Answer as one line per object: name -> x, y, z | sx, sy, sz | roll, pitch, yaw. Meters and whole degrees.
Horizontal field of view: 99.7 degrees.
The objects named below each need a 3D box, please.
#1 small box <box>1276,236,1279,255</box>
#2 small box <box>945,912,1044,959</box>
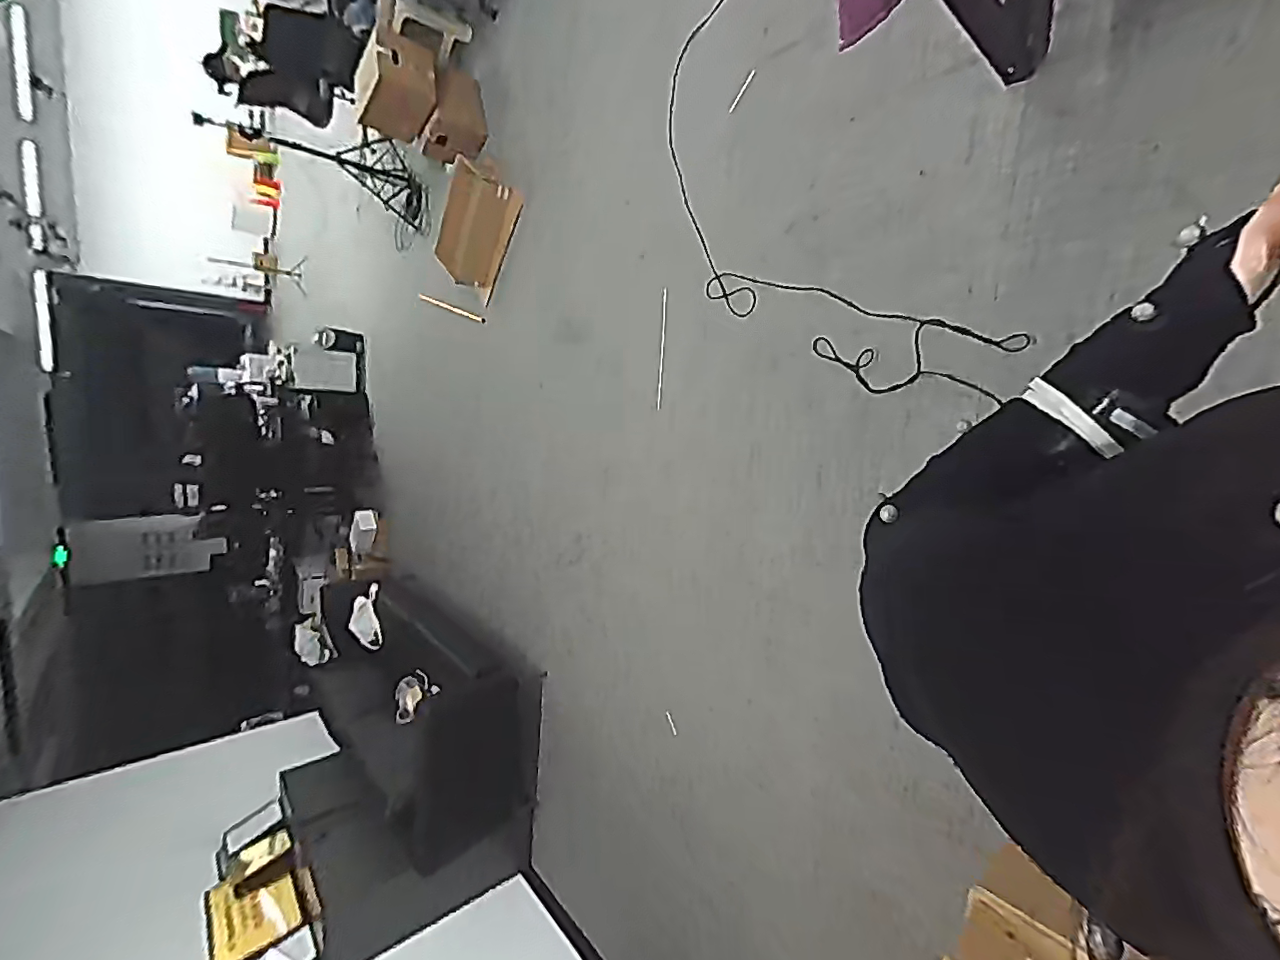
small box -> 0.504, -0.211, 0.297 | 0.168, 0.176, 0.179 | 21, 112, 44
small box -> 0.591, 0.885, 0.891 | 0.168, 0.176, 0.179 | 22, 108, 45
